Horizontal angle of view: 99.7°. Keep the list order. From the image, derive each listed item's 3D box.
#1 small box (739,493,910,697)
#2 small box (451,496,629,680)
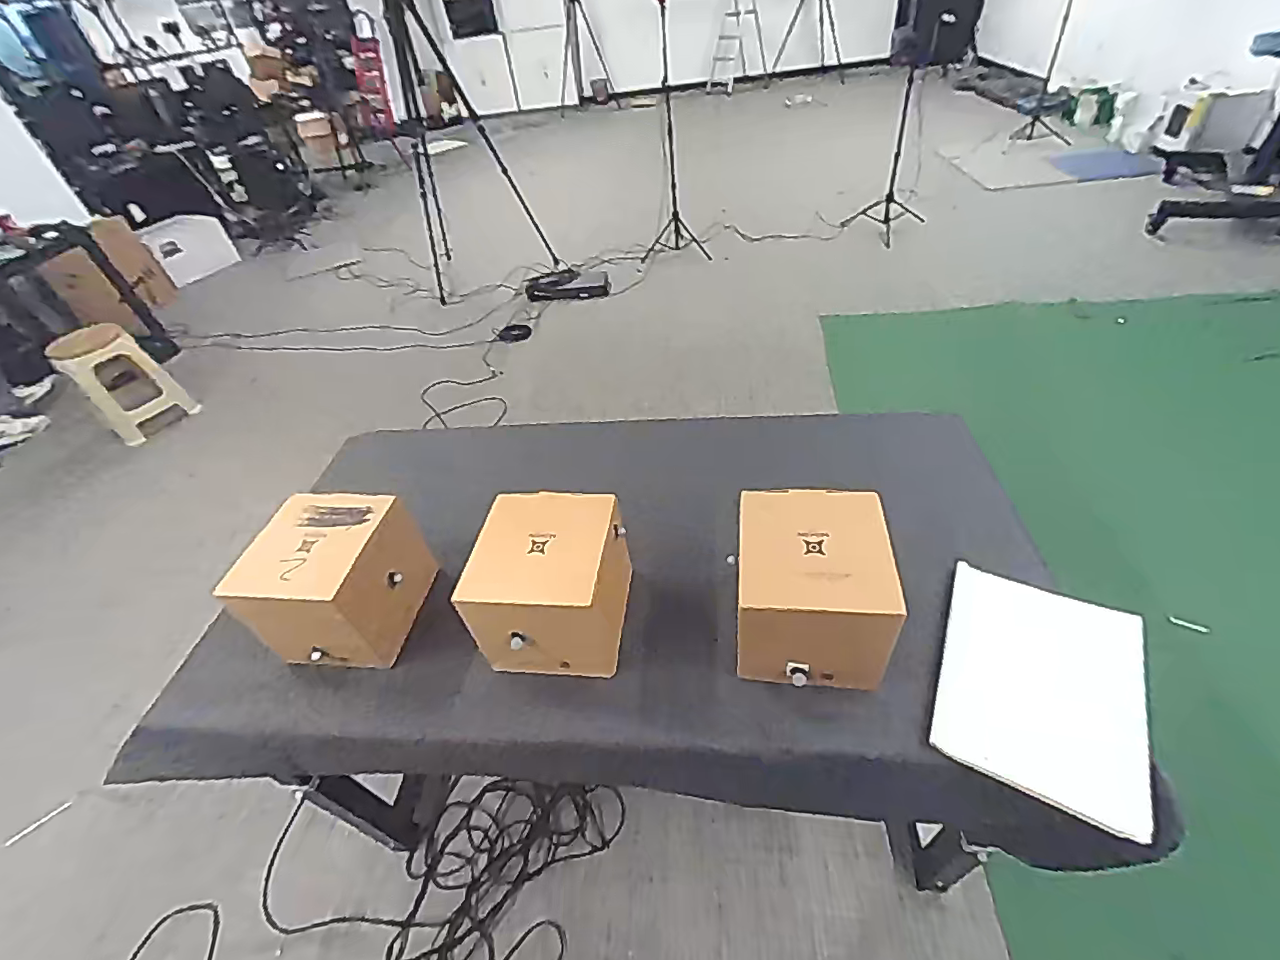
[{"bbox_3d":[0.206,0.135,0.652,0.168,0.176,0.179,0,44,11],"label":"small box"},{"bbox_3d":[-0.112,0.140,0.702,0.168,0.176,0.179,0,42,10],"label":"small box"}]
